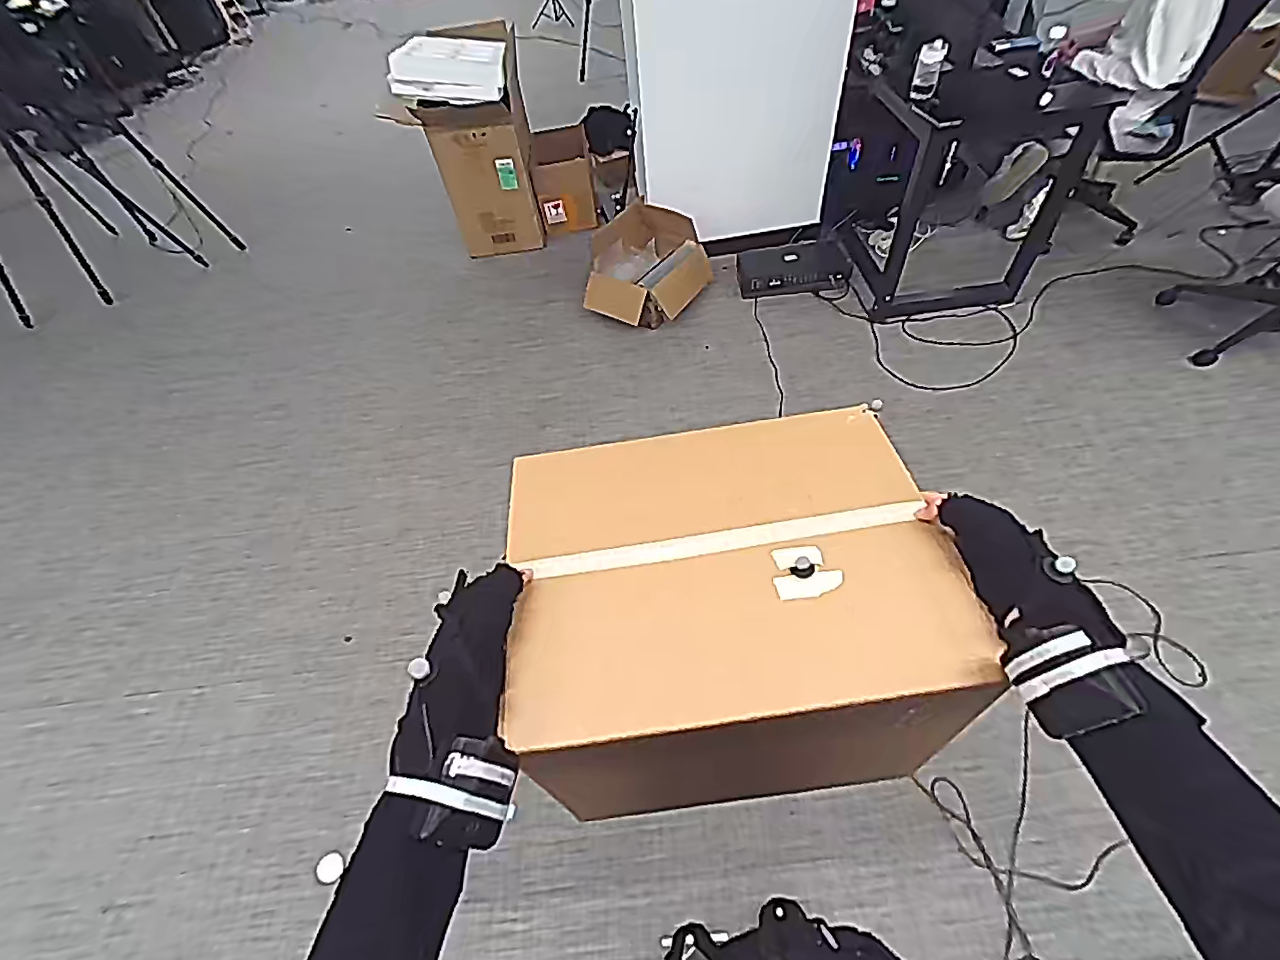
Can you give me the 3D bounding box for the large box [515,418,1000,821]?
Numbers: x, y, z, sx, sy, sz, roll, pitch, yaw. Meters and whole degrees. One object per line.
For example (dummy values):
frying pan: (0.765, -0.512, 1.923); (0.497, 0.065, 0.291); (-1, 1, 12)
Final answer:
large box: (0.091, 0.169, 0.638); (0.408, 0.320, 0.320); (-9, 49, 0)
